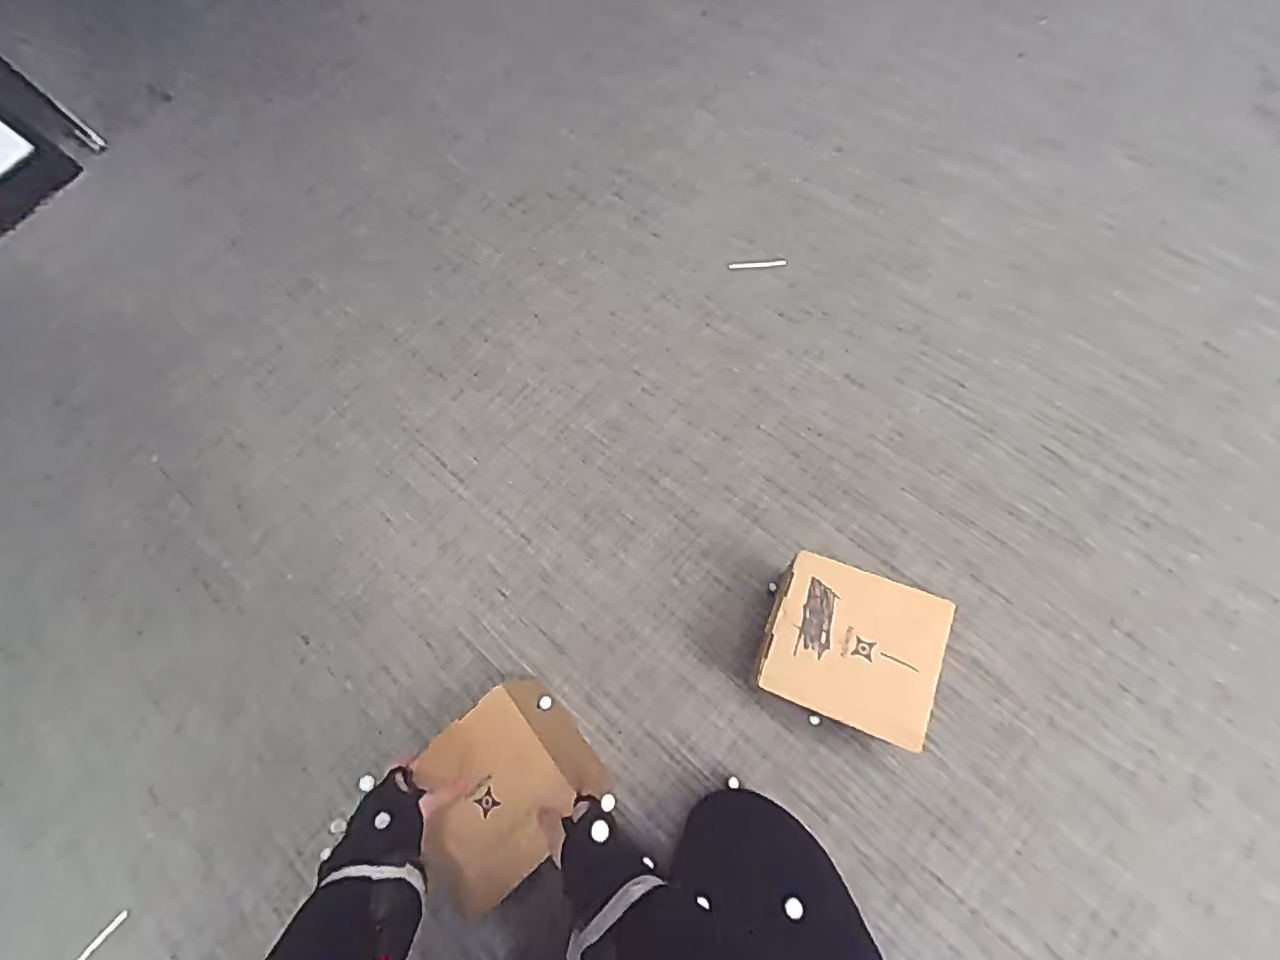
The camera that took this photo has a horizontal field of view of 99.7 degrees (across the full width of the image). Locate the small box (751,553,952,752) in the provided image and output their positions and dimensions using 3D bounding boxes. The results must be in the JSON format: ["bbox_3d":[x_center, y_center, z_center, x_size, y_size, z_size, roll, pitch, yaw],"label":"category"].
[{"bbox_3d":[0.245,0.211,0.669,0.179,0.176,0.168,19,74,14],"label":"small box"}]
